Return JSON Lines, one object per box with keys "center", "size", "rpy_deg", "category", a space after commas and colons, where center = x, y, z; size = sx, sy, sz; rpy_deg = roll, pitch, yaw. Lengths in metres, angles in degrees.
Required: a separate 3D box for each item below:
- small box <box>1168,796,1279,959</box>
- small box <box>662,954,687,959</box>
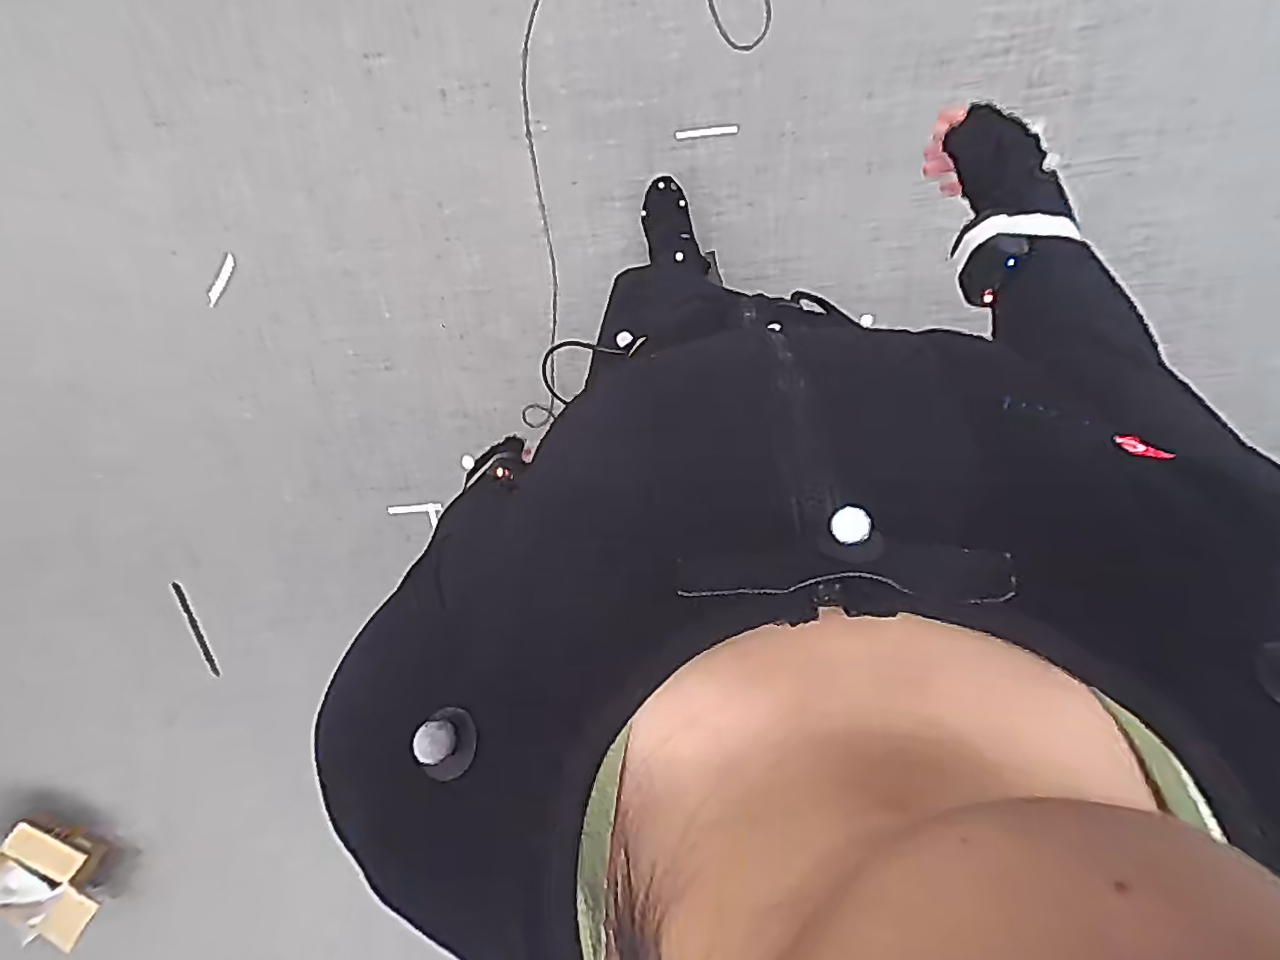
{"center": [0.932, 0.585, 0.774], "size": [0.179, 0.176, 0.168], "rpy_deg": [-4, 110, 11], "category": "small box"}
{"center": [0.165, 2.146, 2.273], "size": [0.179, 0.176, 0.168], "rpy_deg": [13, 113, 4], "category": "small box"}
